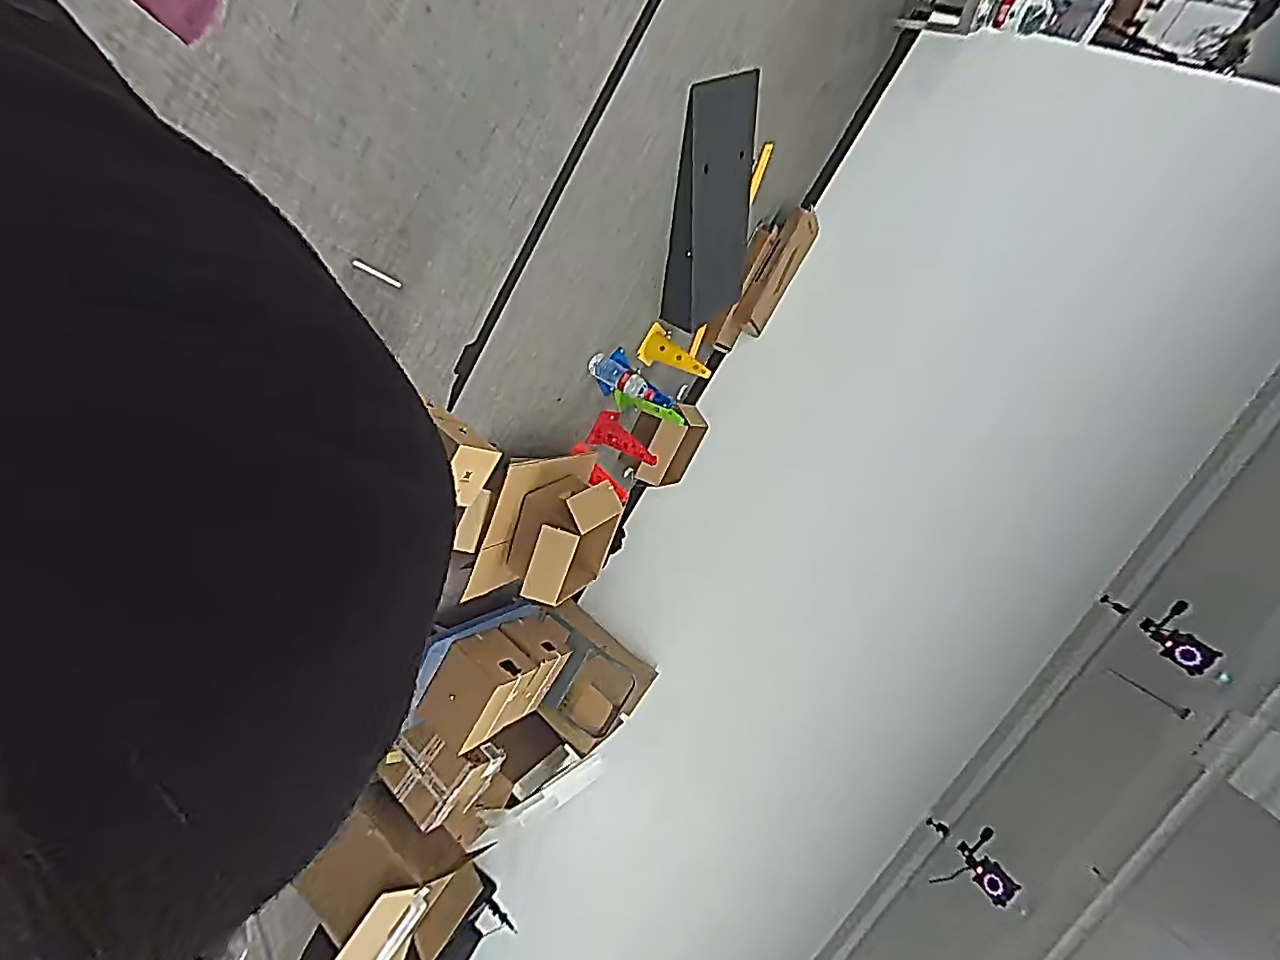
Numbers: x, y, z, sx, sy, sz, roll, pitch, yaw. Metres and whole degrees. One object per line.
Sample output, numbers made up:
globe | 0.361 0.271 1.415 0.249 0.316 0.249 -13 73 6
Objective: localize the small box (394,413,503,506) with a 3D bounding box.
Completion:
small box | -0.498 -0.053 1.402 0.179 0.176 0.168 -57 159 9

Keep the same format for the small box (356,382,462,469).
small box | -0.625 -0.140 1.460 0.179 0.176 0.168 -58 159 9
